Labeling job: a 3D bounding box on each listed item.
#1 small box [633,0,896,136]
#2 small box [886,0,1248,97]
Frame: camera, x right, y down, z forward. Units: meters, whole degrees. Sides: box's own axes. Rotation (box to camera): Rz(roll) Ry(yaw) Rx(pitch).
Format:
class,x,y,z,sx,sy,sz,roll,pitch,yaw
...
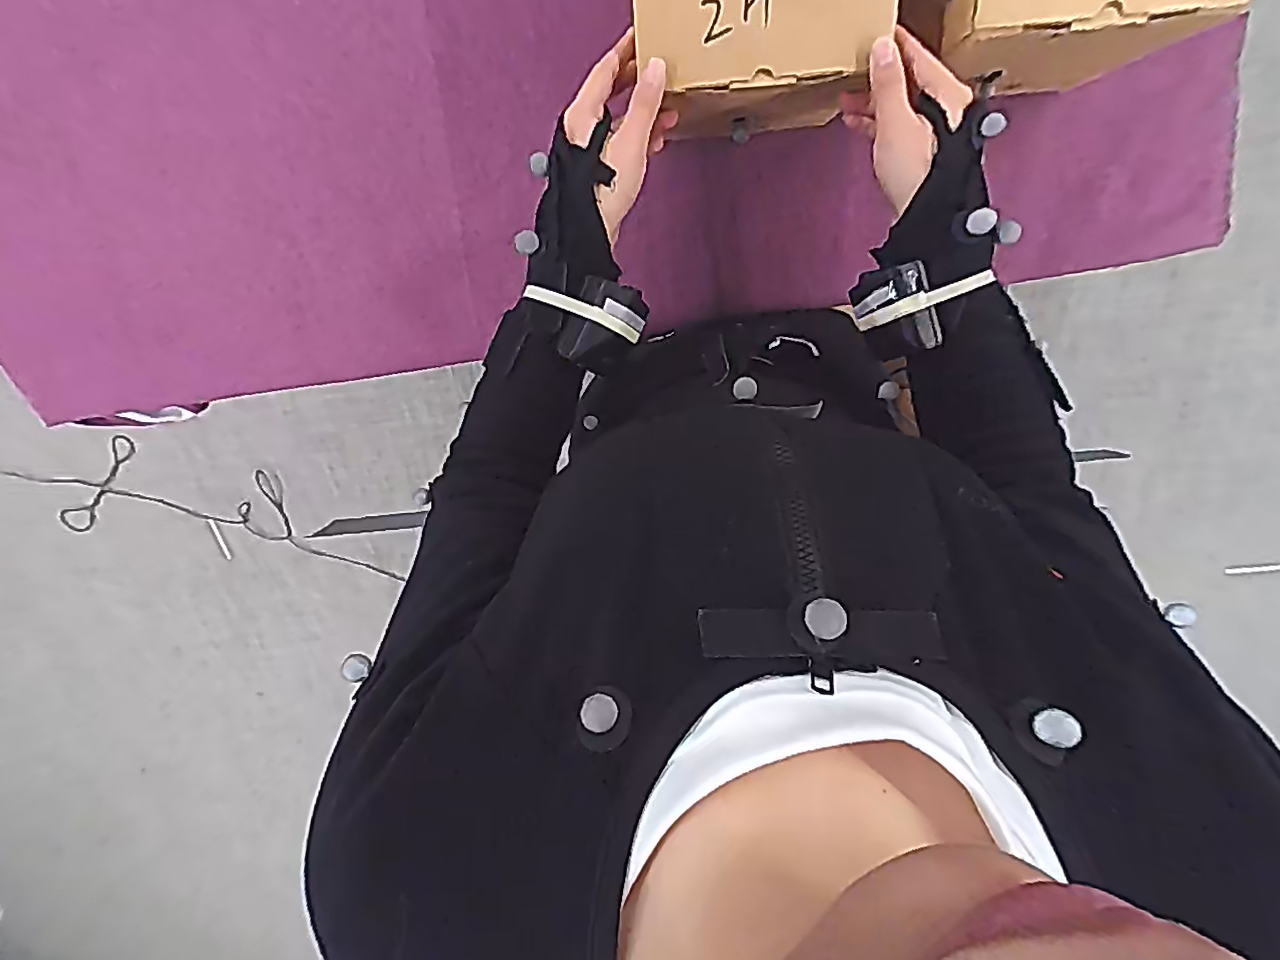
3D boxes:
class,x,y,z,sx,sy,sz,roll,pitch,yaw
small box,0.077,-0.374,0.394,0.168,0.176,0.179,-3,113,4
small box,0.287,-0.395,0.372,0.168,0.176,0.179,-3,113,5
